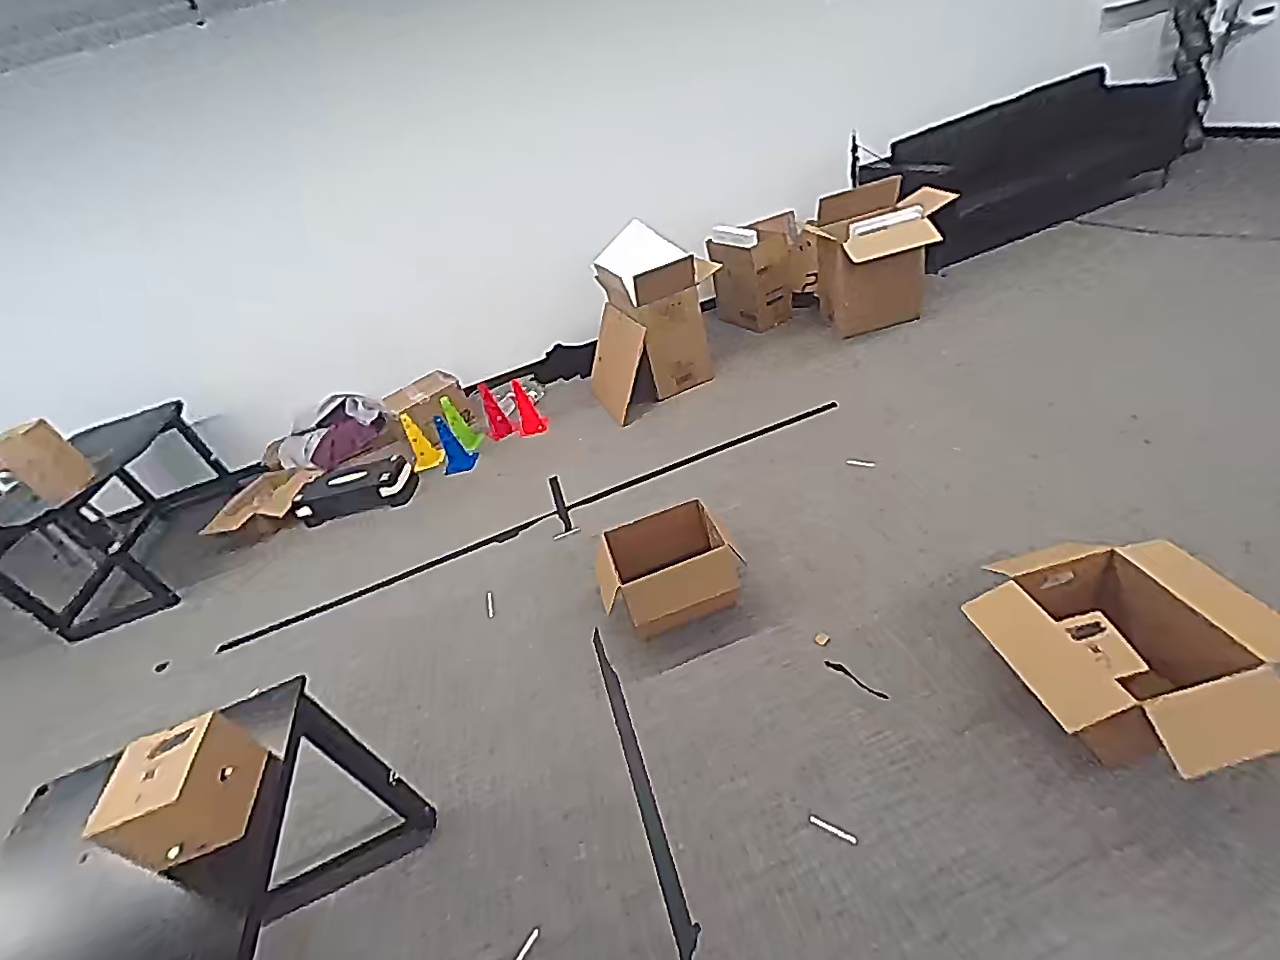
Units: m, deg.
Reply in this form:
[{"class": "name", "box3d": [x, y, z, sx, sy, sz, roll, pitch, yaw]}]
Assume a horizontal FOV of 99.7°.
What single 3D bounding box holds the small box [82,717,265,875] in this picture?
[{"class": "small box", "box3d": [-0.848, 0.588, 1.011, 0.168, 0.176, 0.179, -22, 37, -4]}]
